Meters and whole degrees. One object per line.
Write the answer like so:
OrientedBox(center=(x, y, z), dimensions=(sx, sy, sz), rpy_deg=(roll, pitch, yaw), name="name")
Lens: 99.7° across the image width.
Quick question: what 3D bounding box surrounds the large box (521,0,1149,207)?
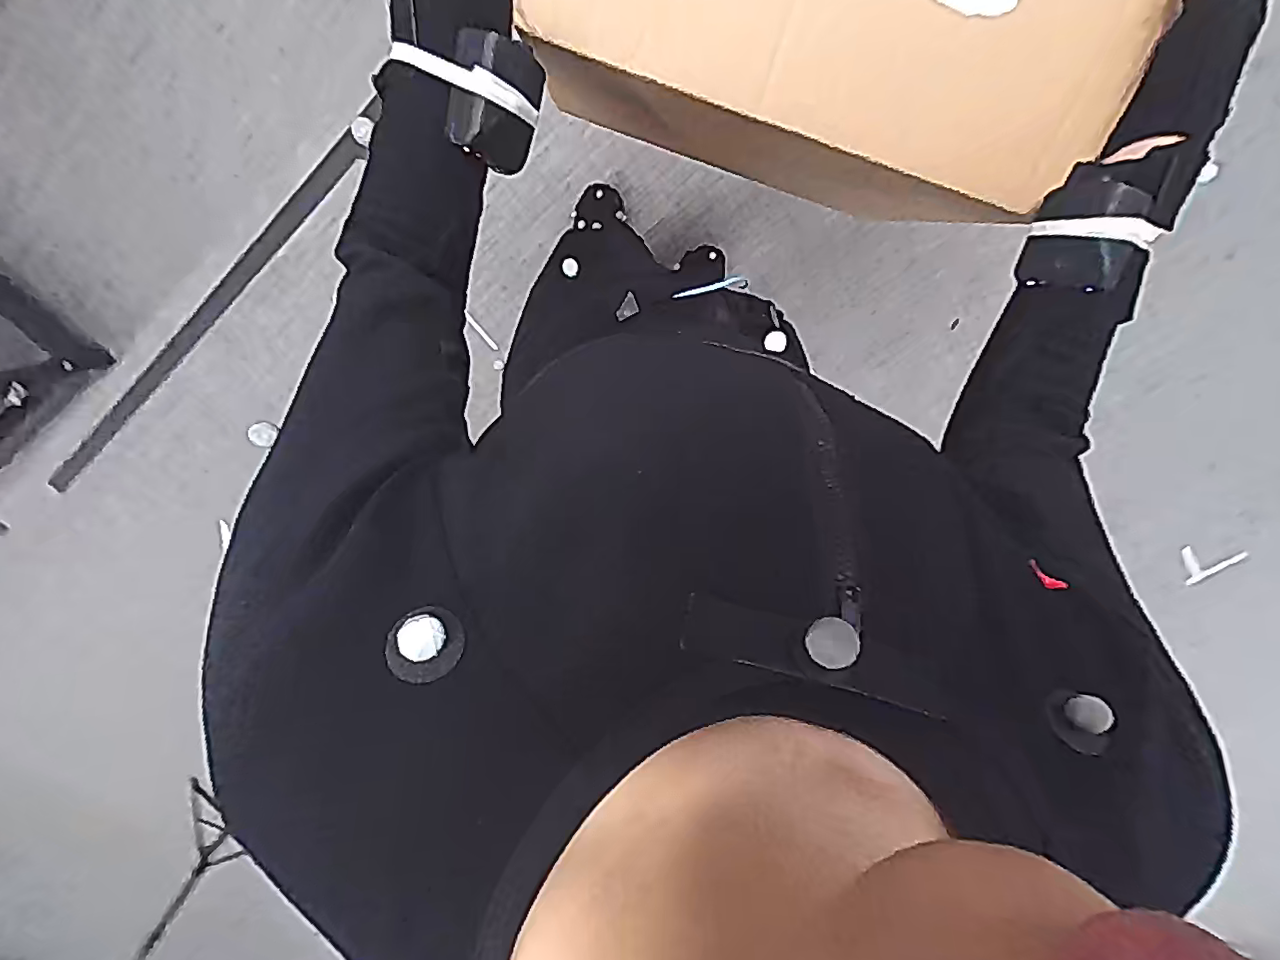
OrientedBox(center=(0.139, -0.445, 0.446), dimensions=(0.408, 0.320, 0.320), rpy_deg=(12, 116, -10), name="large box")
